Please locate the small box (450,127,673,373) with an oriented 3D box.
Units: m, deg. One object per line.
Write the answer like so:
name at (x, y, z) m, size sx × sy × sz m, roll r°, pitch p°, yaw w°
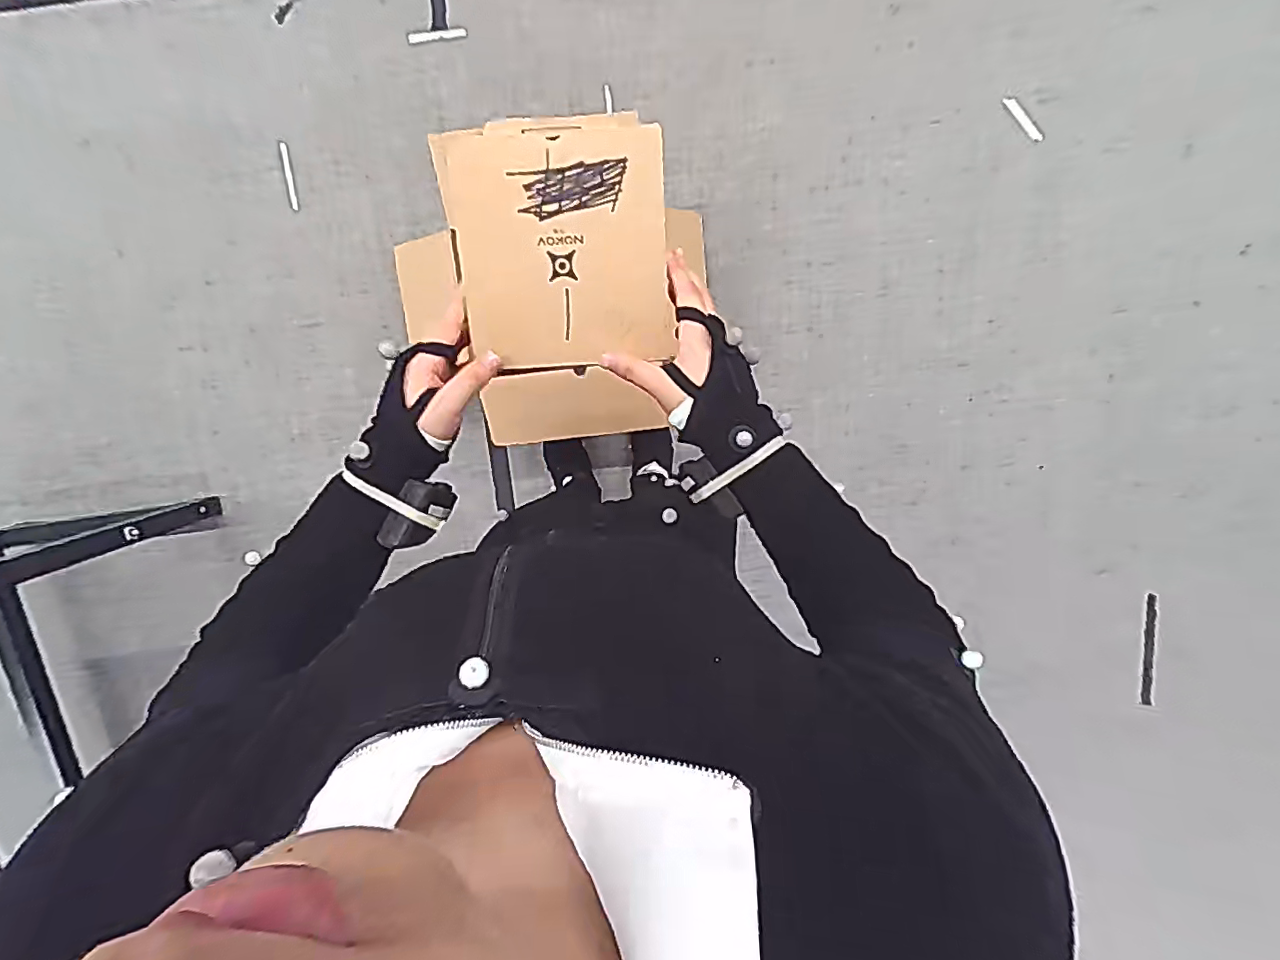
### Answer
small box at (-0.058, -0.197, 0.503) m, size 0.168 × 0.176 × 0.179 m, roll -3°, pitch 106°, yaw 1°
